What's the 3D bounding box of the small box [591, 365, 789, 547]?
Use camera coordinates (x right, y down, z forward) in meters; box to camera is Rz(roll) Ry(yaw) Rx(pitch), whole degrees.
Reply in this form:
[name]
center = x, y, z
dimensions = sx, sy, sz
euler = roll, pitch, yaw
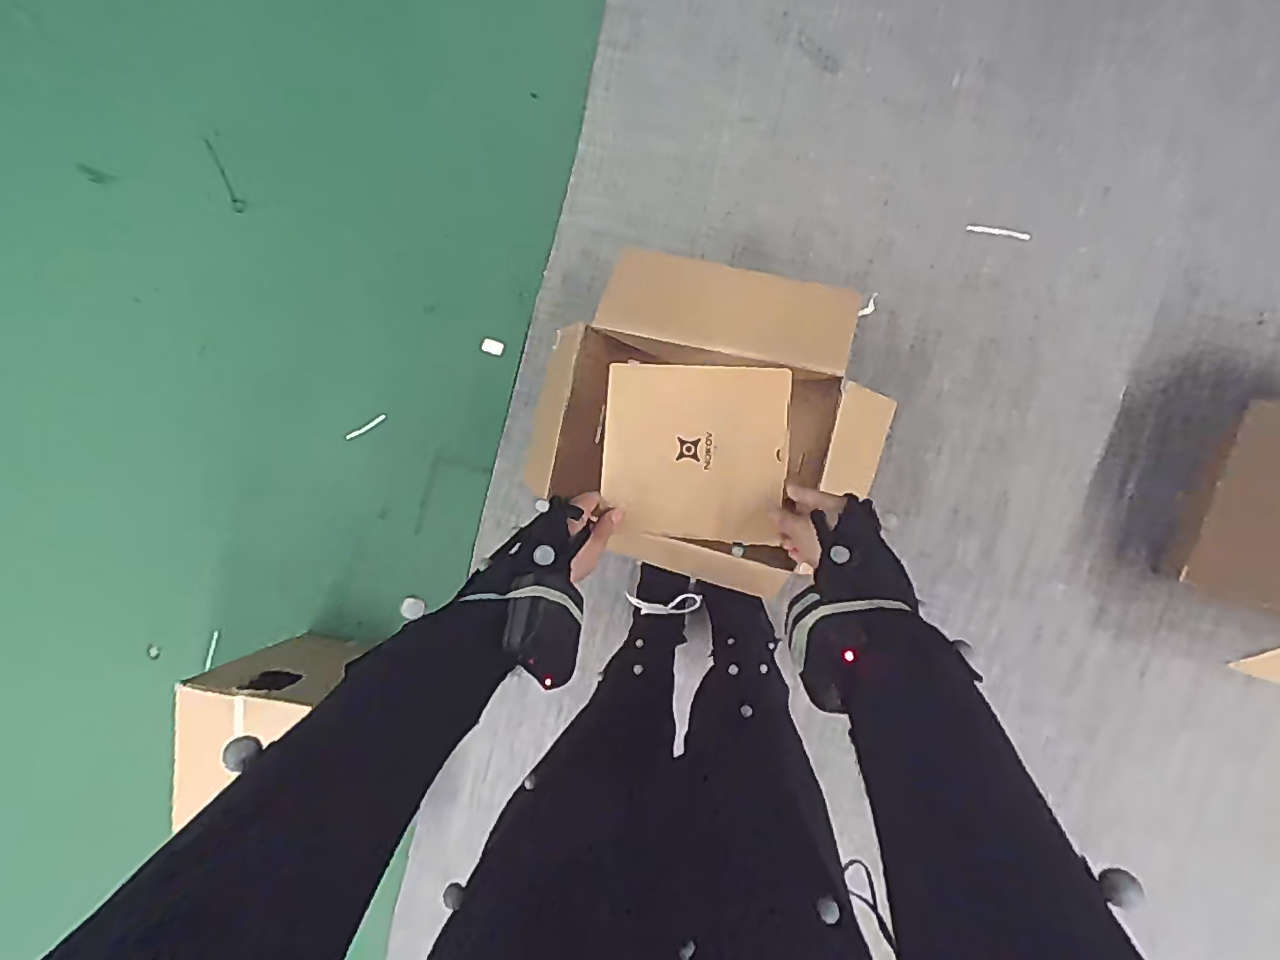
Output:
[small box]
center = 0.057, -0.016, 0.587
dimensions = 0.179, 0.176, 0.168
euler = 4, 84, 8
